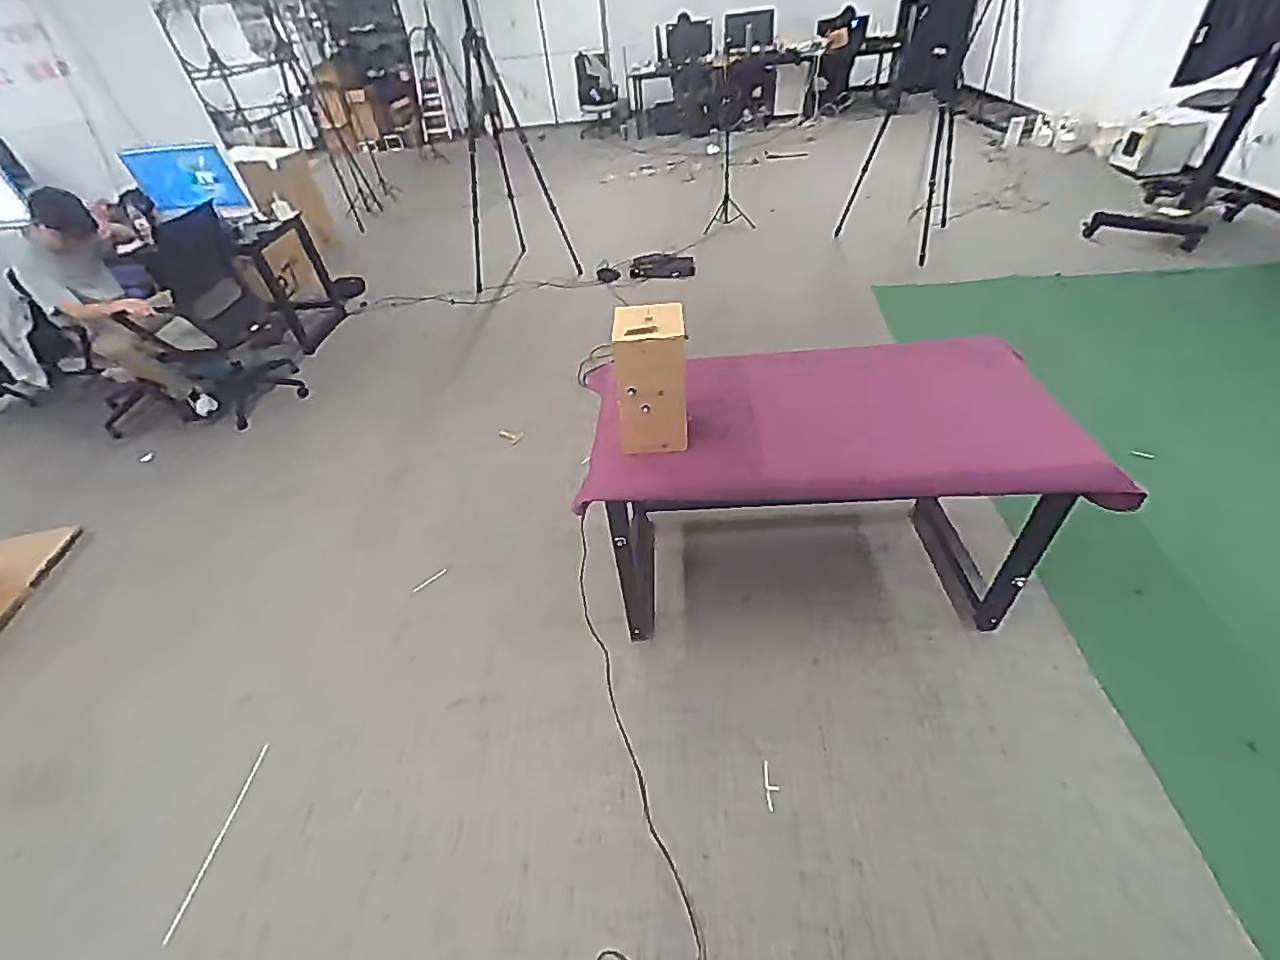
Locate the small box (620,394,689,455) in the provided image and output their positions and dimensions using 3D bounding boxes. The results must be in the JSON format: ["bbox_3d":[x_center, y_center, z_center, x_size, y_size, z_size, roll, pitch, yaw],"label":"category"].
[{"bbox_3d":[0.042,-0.184,1.428,0.168,0.176,0.179,-4,42,5],"label":"small box"}]

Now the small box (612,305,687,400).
[{"bbox_3d":[0.028,-0.305,1.317,0.168,0.176,0.179,-3,42,4],"label":"small box"}]
